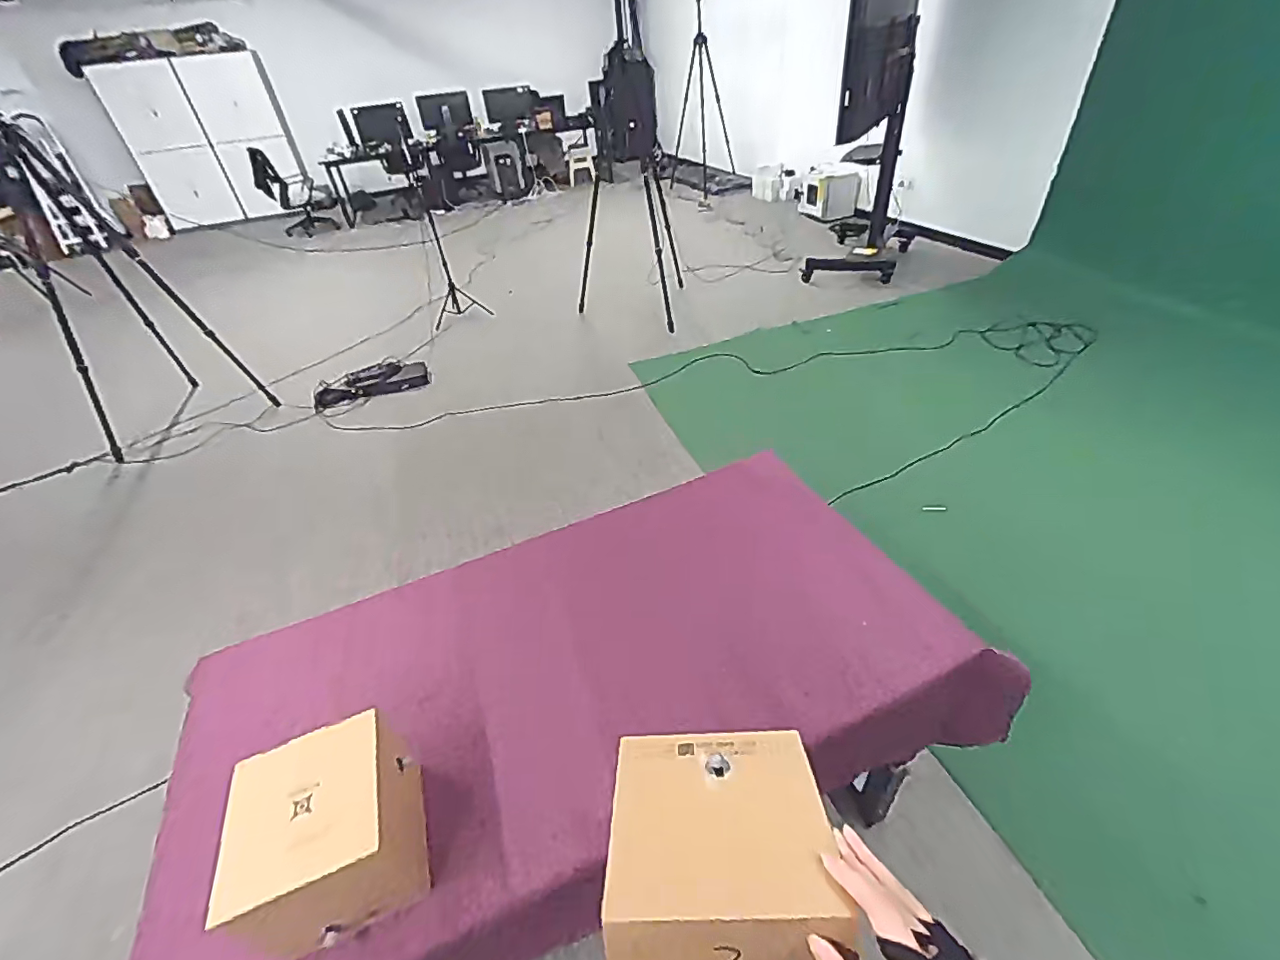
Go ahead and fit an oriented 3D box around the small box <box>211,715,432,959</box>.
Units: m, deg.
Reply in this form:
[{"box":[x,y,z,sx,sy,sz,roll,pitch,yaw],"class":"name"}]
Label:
[{"box":[-0.369,0.434,0.661,0.168,0.176,0.179,-19,40,-13],"class":"small box"}]
